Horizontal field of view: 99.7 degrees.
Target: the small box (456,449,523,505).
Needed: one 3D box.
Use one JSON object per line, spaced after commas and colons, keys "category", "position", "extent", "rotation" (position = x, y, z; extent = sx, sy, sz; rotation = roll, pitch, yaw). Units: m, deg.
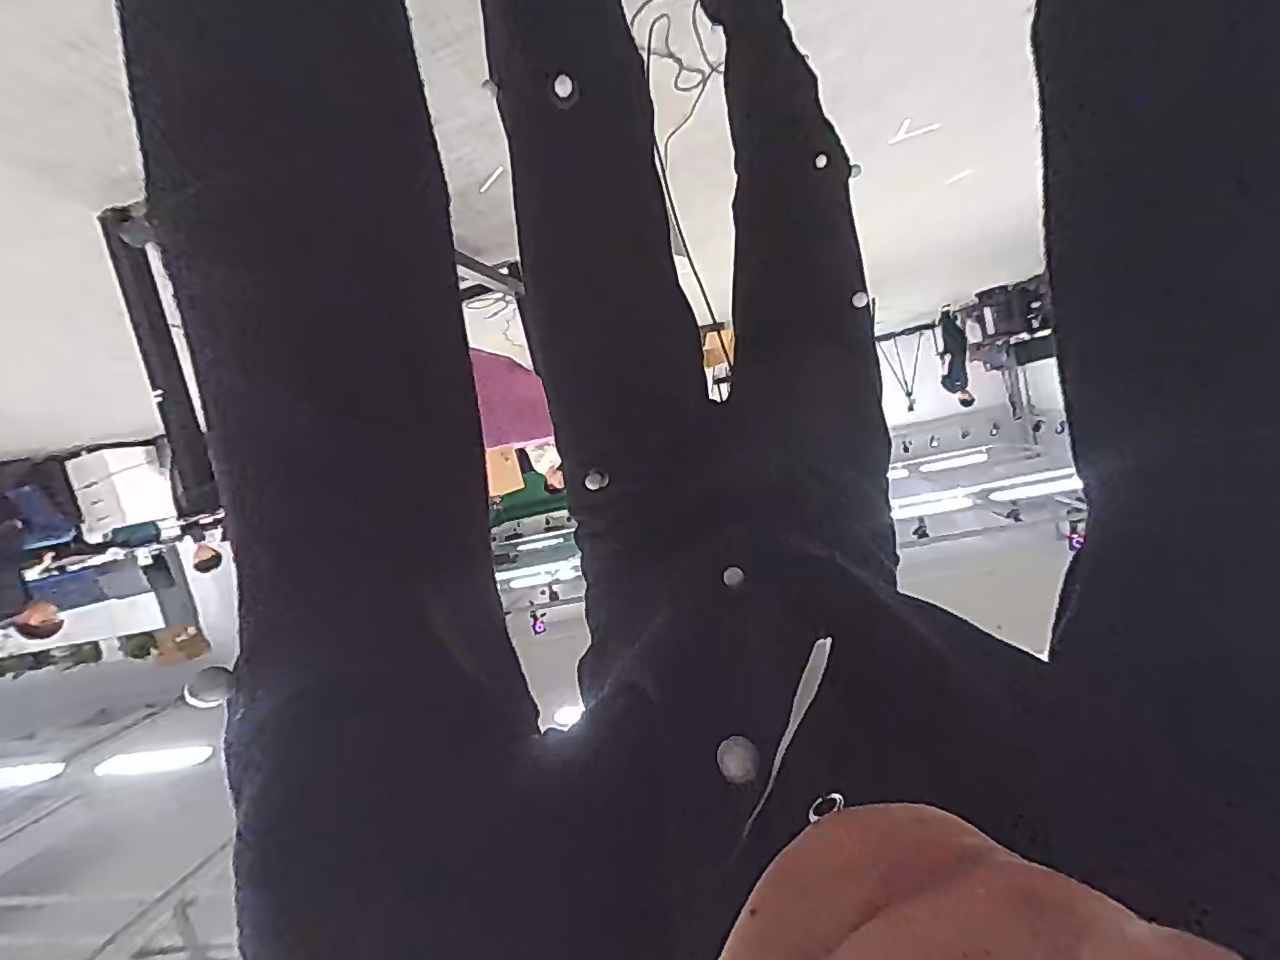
{"category": "small box", "position": [-0.570, -0.016, 2.039], "extent": [0.179, 0.176, 0.168], "rotation": [-13, -175, 17]}
